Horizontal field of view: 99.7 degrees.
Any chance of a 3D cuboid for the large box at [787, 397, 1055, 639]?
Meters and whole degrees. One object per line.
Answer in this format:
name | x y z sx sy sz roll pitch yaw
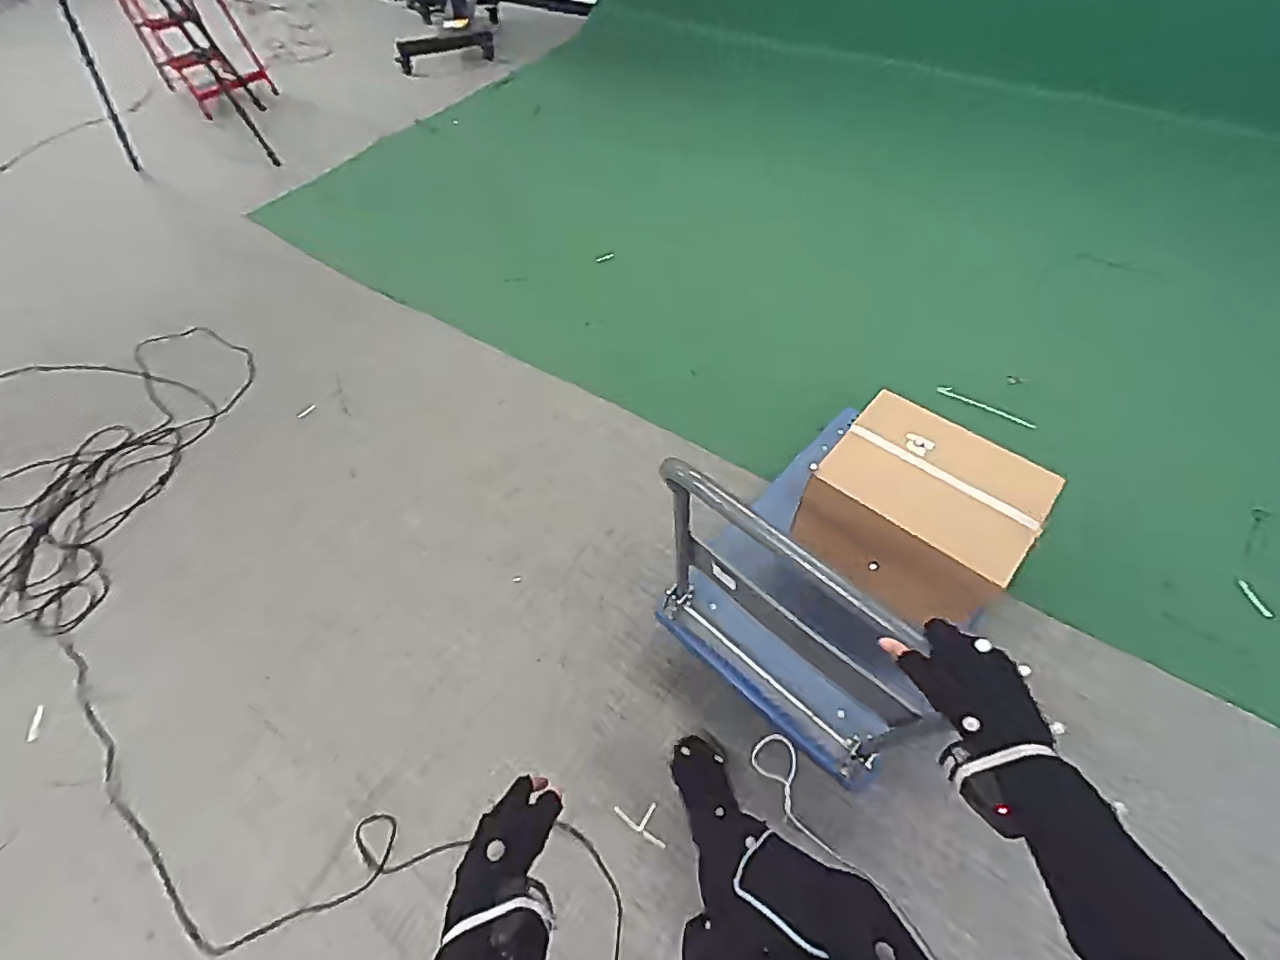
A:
large box | 0.609 0.087 1.242 0.408 0.320 0.320 35 65 25
